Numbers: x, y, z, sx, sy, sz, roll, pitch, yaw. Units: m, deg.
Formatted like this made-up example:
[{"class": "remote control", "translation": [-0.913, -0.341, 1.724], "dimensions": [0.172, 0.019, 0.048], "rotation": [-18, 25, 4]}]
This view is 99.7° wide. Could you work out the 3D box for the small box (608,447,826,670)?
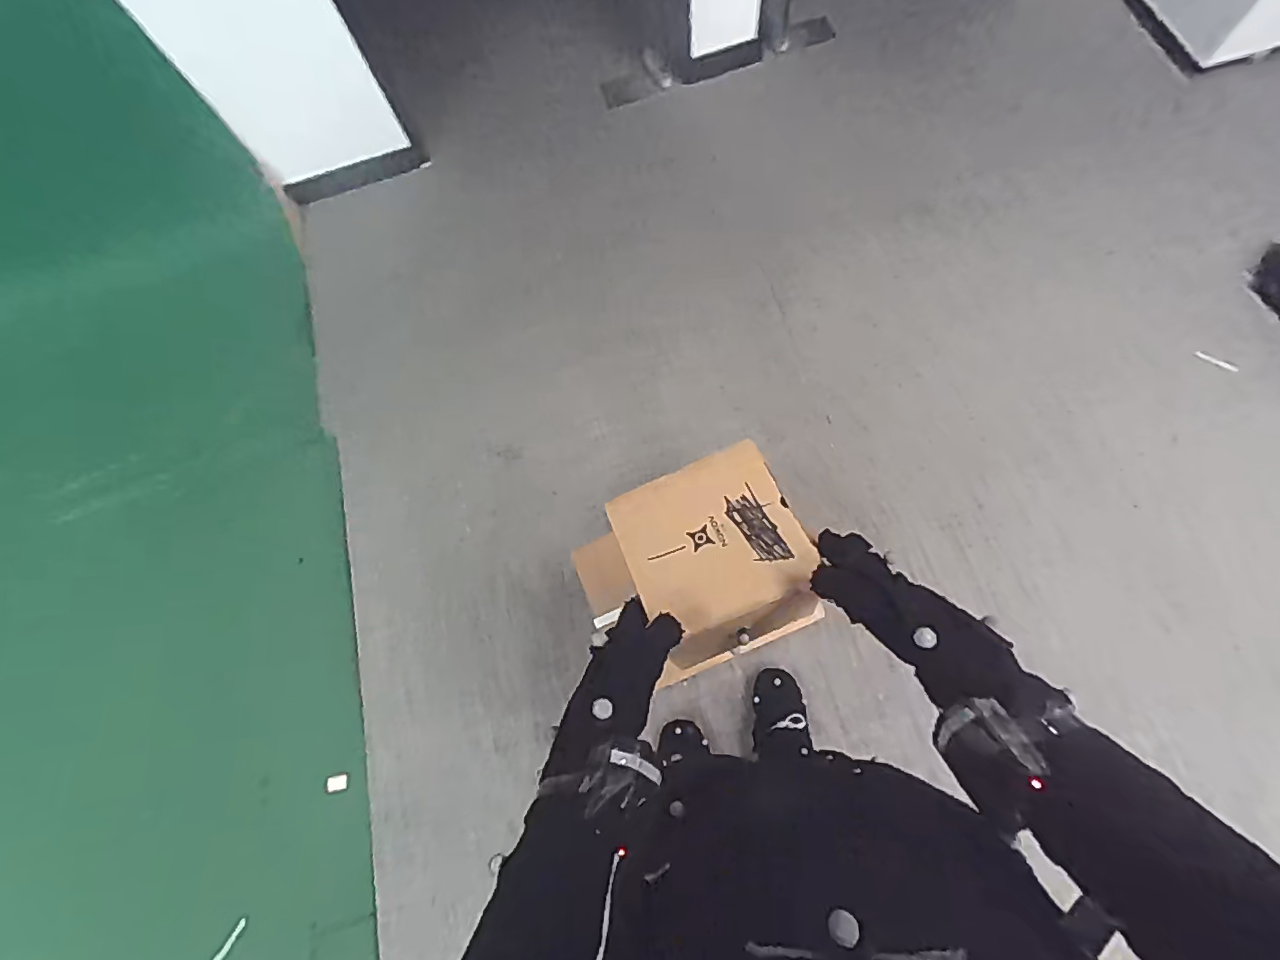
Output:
[{"class": "small box", "translation": [0.086, 0.097, 0.616], "dimensions": [0.179, 0.176, 0.168], "rotation": [-24, 60, 1]}]
